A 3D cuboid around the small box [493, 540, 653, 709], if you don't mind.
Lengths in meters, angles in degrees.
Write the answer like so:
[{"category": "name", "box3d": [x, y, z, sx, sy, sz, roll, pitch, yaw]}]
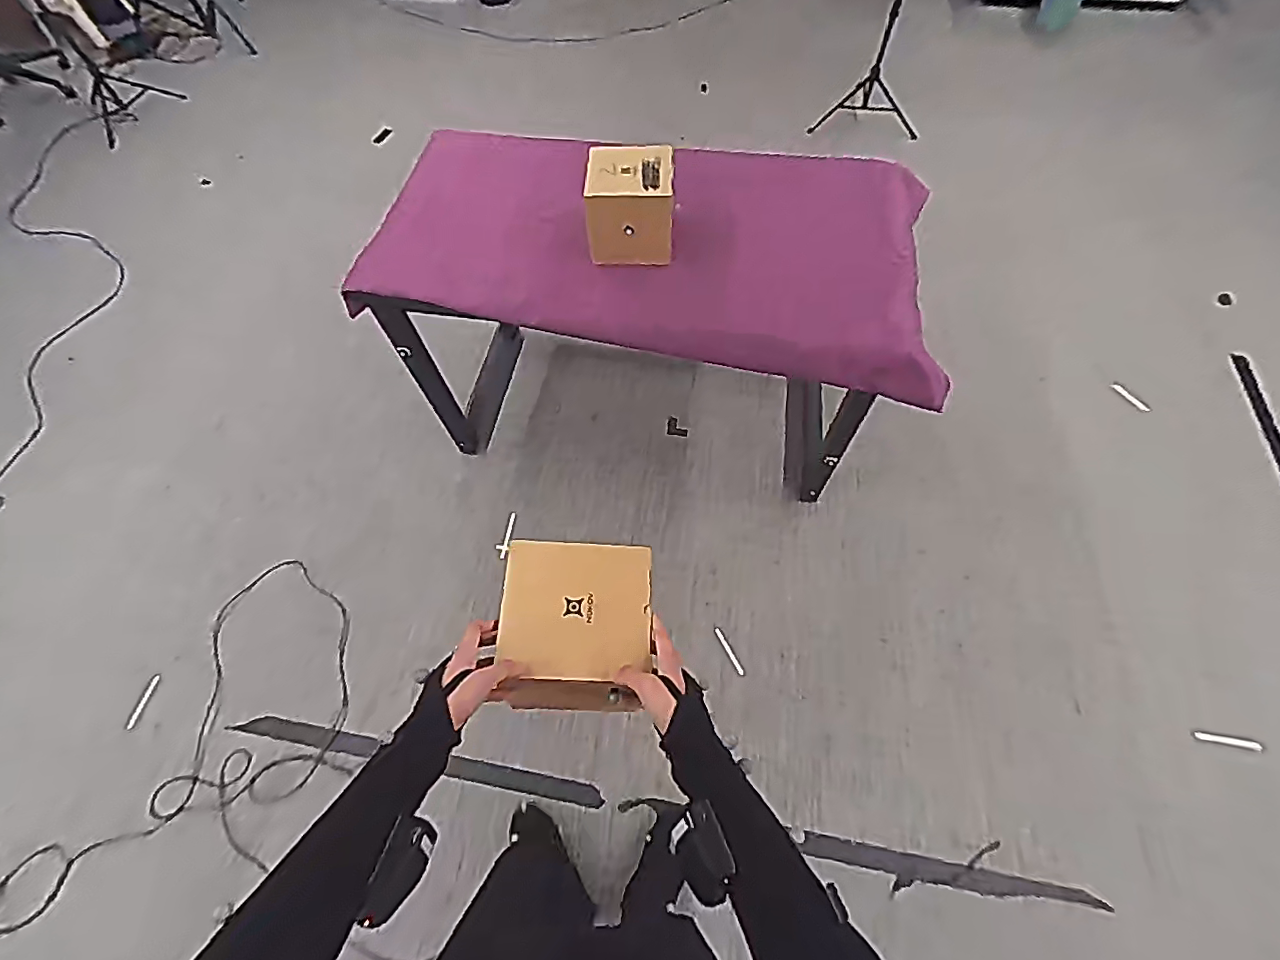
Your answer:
[{"category": "small box", "box3d": [-0.080, 0.191, 0.694, 0.179, 0.176, 0.168, 5, 57, -6]}]
